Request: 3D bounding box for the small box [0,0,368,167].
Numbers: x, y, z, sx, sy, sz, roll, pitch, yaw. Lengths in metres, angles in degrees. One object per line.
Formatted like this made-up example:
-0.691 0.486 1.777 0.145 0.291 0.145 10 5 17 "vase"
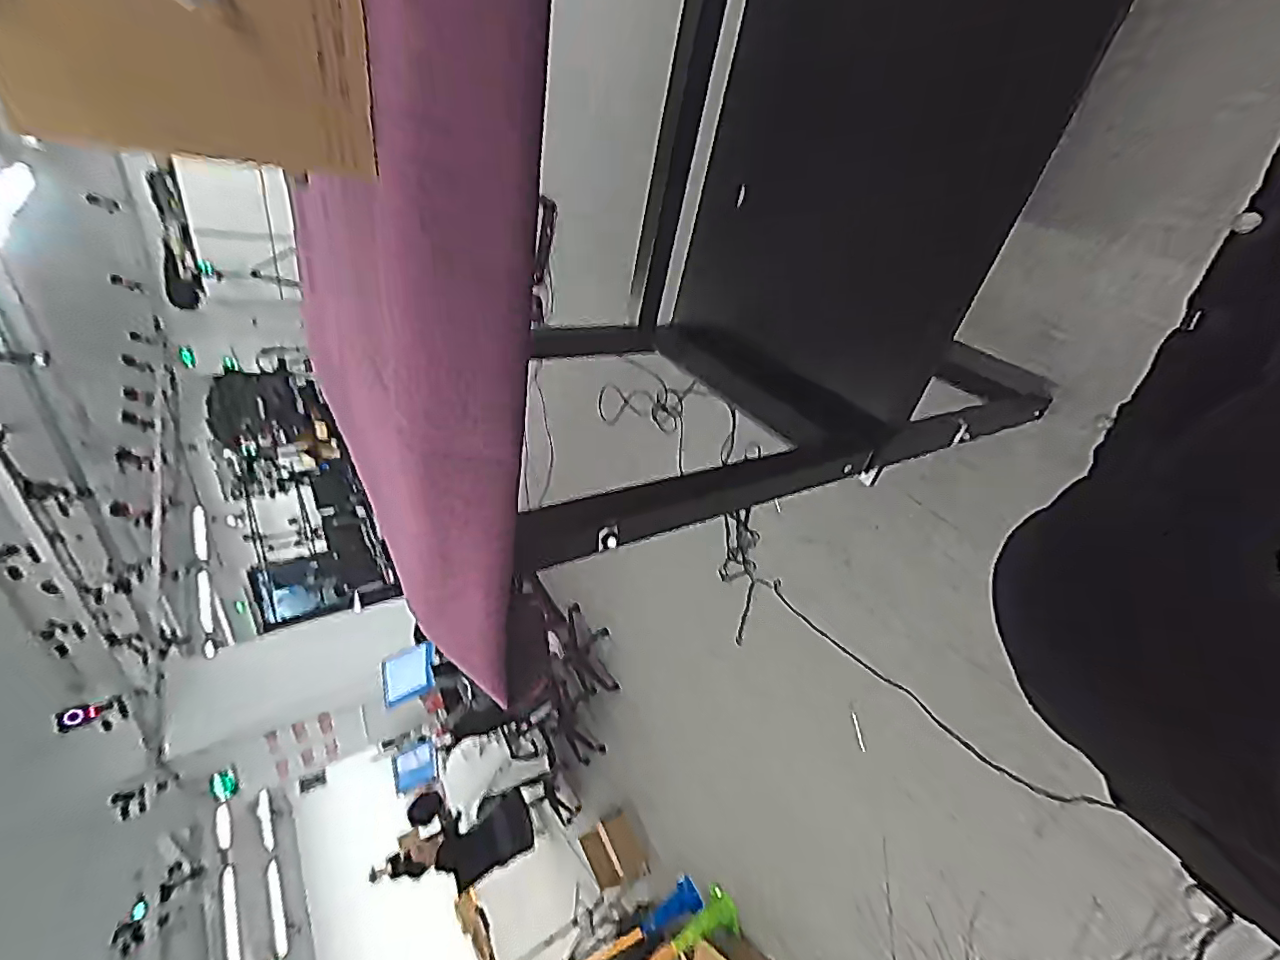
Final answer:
-0.270 -0.295 0.320 0.179 0.176 0.168 42 133 42 "small box"
